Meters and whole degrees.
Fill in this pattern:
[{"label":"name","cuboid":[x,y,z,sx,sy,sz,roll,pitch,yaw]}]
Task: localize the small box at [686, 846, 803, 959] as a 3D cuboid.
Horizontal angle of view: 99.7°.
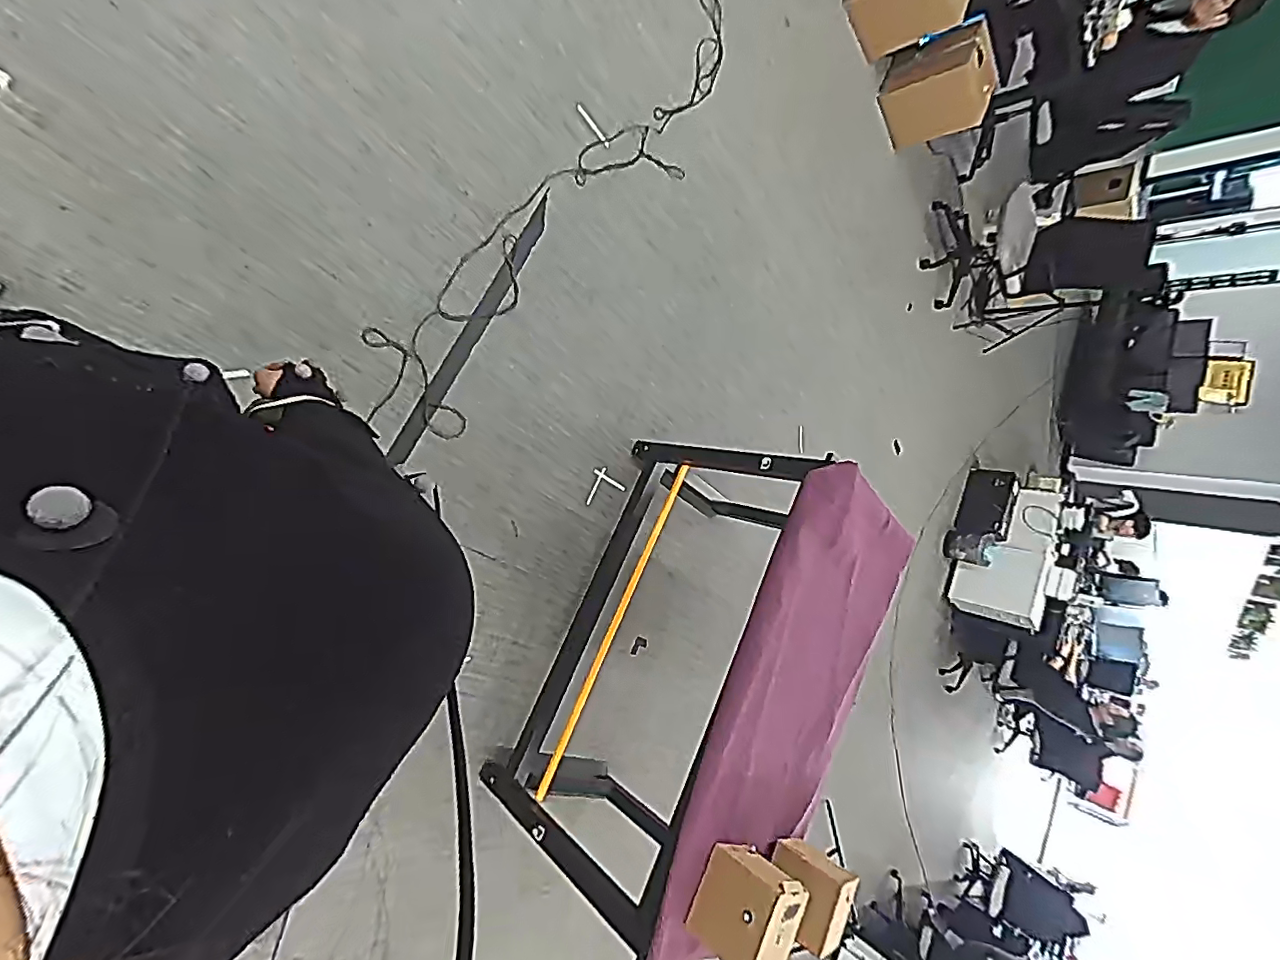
[{"label":"small box","cuboid":[0.228,0.943,1.191,0.168,0.176,0.179,40,71,-41]}]
